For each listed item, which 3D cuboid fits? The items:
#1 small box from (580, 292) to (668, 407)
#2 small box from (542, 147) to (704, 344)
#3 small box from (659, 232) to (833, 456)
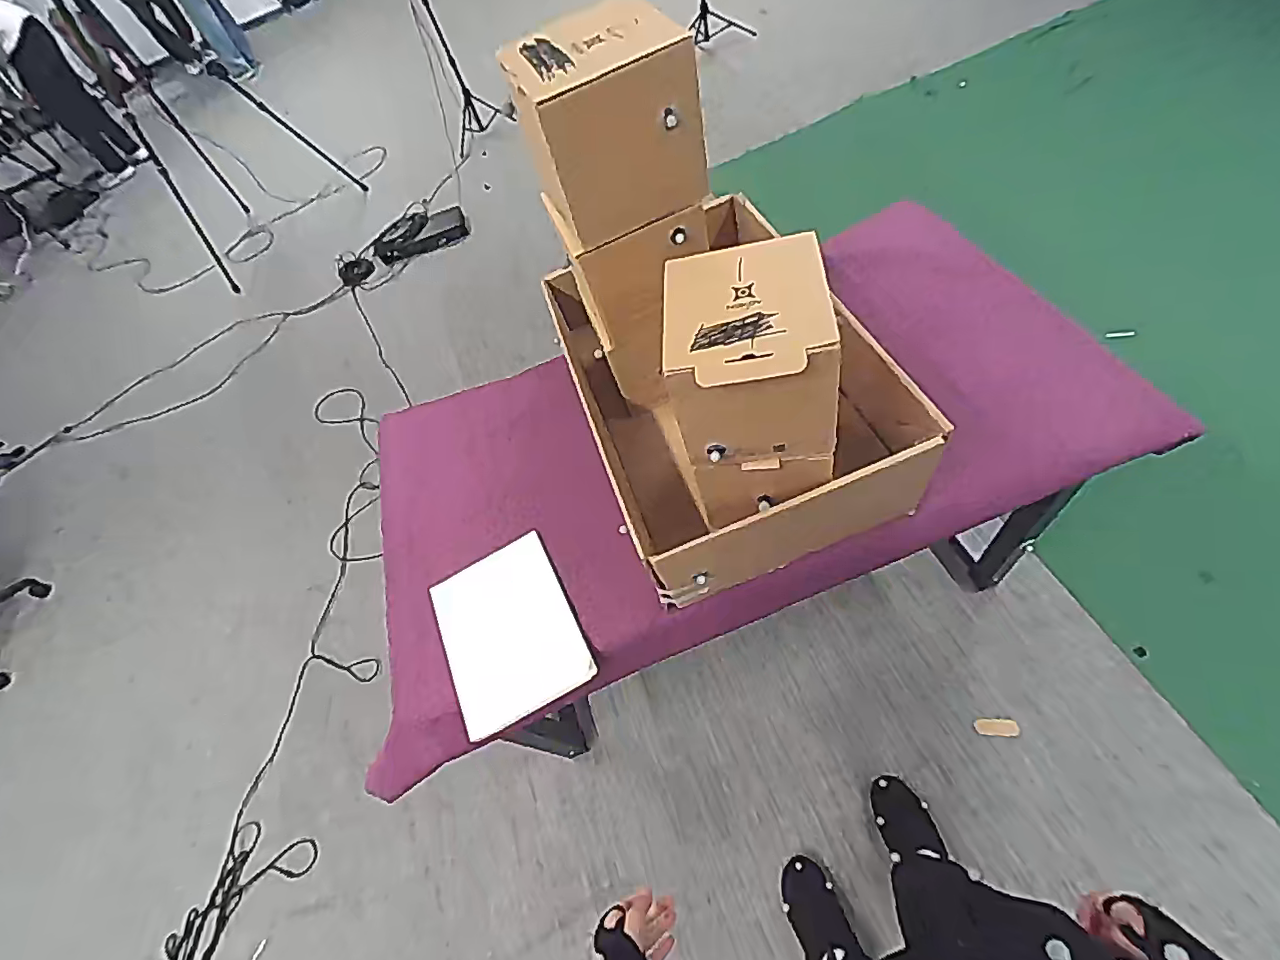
[{"bbox_3d":[0.017,-0.246,0.910,0.168,0.176,0.179,-23,57,1],"label":"small box"},{"bbox_3d":[-0.014,-0.327,0.773,0.179,0.176,0.168,-25,57,0],"label":"small box"},{"bbox_3d":[0.122,-0.140,0.610,0.168,0.176,0.179,-6,56,14],"label":"small box"}]
